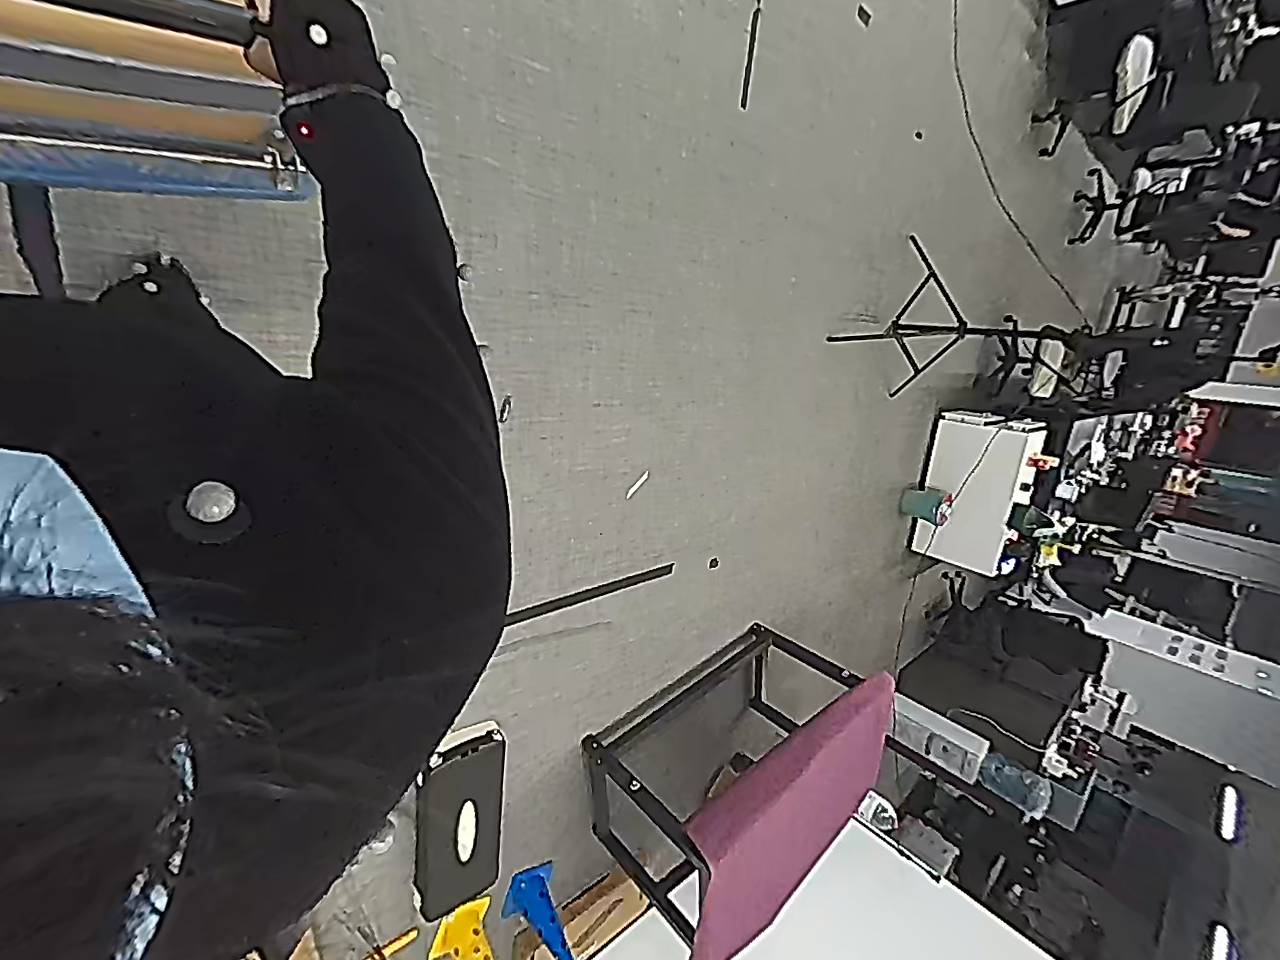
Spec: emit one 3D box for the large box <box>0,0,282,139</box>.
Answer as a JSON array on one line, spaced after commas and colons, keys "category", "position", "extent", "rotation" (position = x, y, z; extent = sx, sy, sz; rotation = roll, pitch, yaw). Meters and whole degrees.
[{"category": "large box", "position": [-0.760, -0.677, 0.706], "extent": [0.408, 0.320, 0.320], "rotation": [-17, 116, -38]}]
